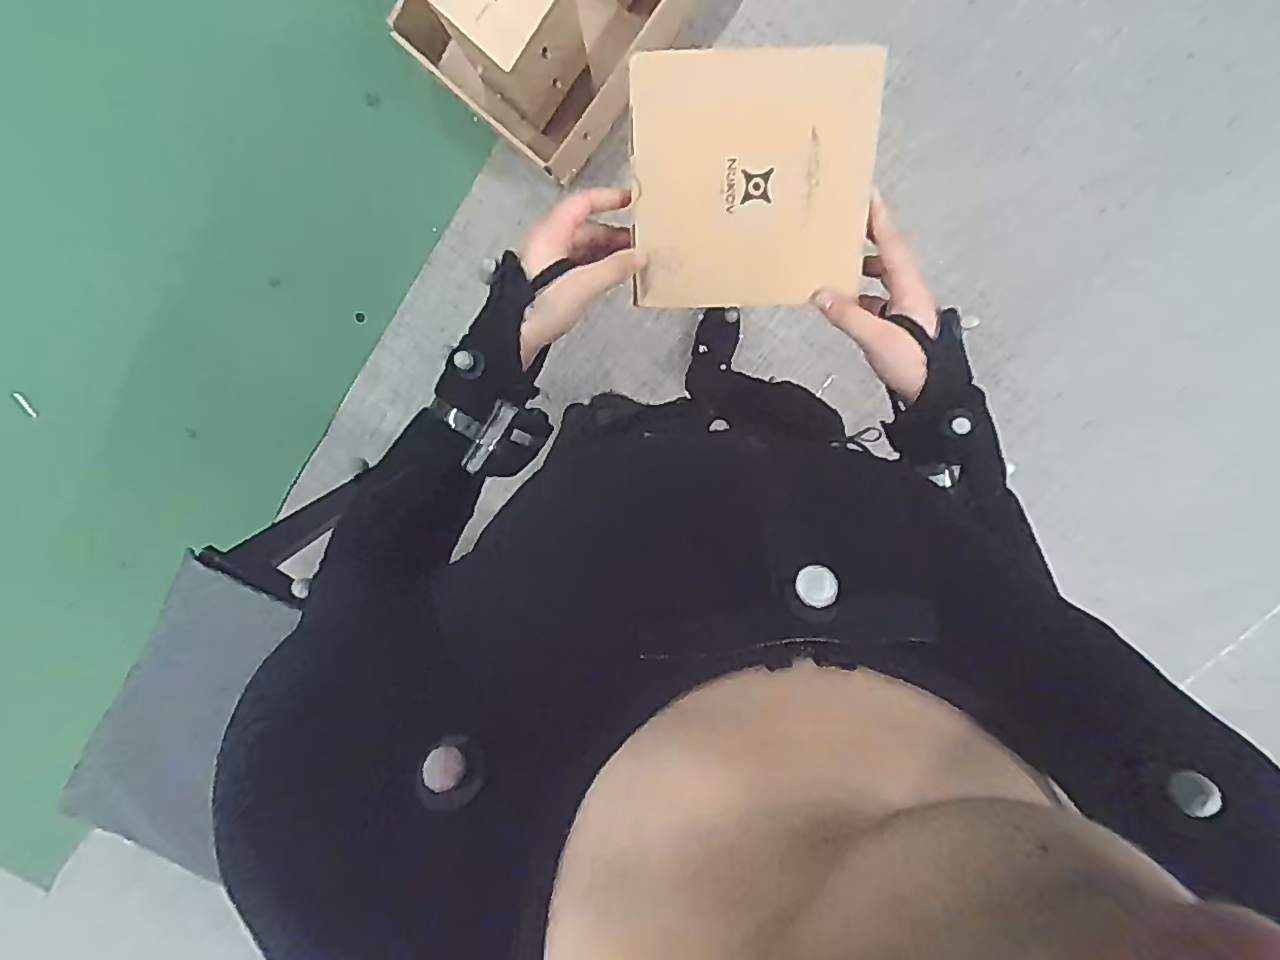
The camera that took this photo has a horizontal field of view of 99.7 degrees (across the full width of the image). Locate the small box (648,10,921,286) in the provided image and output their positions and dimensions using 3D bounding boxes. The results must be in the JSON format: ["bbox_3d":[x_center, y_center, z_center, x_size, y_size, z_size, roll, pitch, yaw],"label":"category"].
[{"bbox_3d":[0.096,-0.251,0.450,0.179,0.176,0.168,-2,112,0],"label":"small box"}]

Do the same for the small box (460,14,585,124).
[{"bbox_3d":[-0.223,-0.865,1.083,0.168,0.176,0.179,37,103,-12],"label":"small box"}]

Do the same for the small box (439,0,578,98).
[{"bbox_3d":[-0.220,-0.814,0.926,0.168,0.176,0.179,38,104,-11],"label":"small box"}]
